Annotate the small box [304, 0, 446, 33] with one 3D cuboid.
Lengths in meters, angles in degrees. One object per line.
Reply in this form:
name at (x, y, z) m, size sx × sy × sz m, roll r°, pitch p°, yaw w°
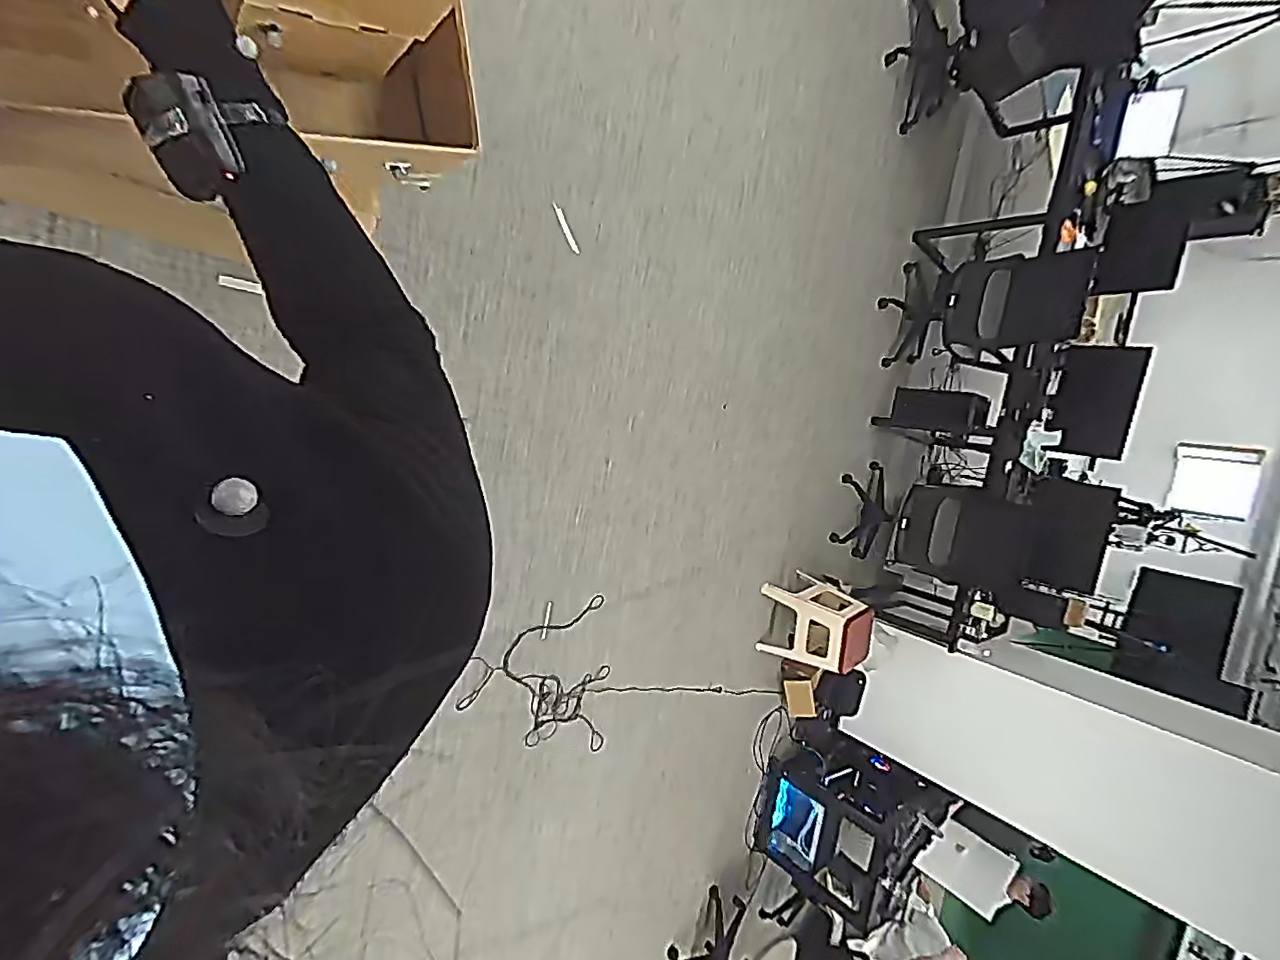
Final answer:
small box at (-0.258, -0.543, 0.478) m, size 0.179 × 0.176 × 0.168 m, roll -14°, pitch 111°, yaw -40°
